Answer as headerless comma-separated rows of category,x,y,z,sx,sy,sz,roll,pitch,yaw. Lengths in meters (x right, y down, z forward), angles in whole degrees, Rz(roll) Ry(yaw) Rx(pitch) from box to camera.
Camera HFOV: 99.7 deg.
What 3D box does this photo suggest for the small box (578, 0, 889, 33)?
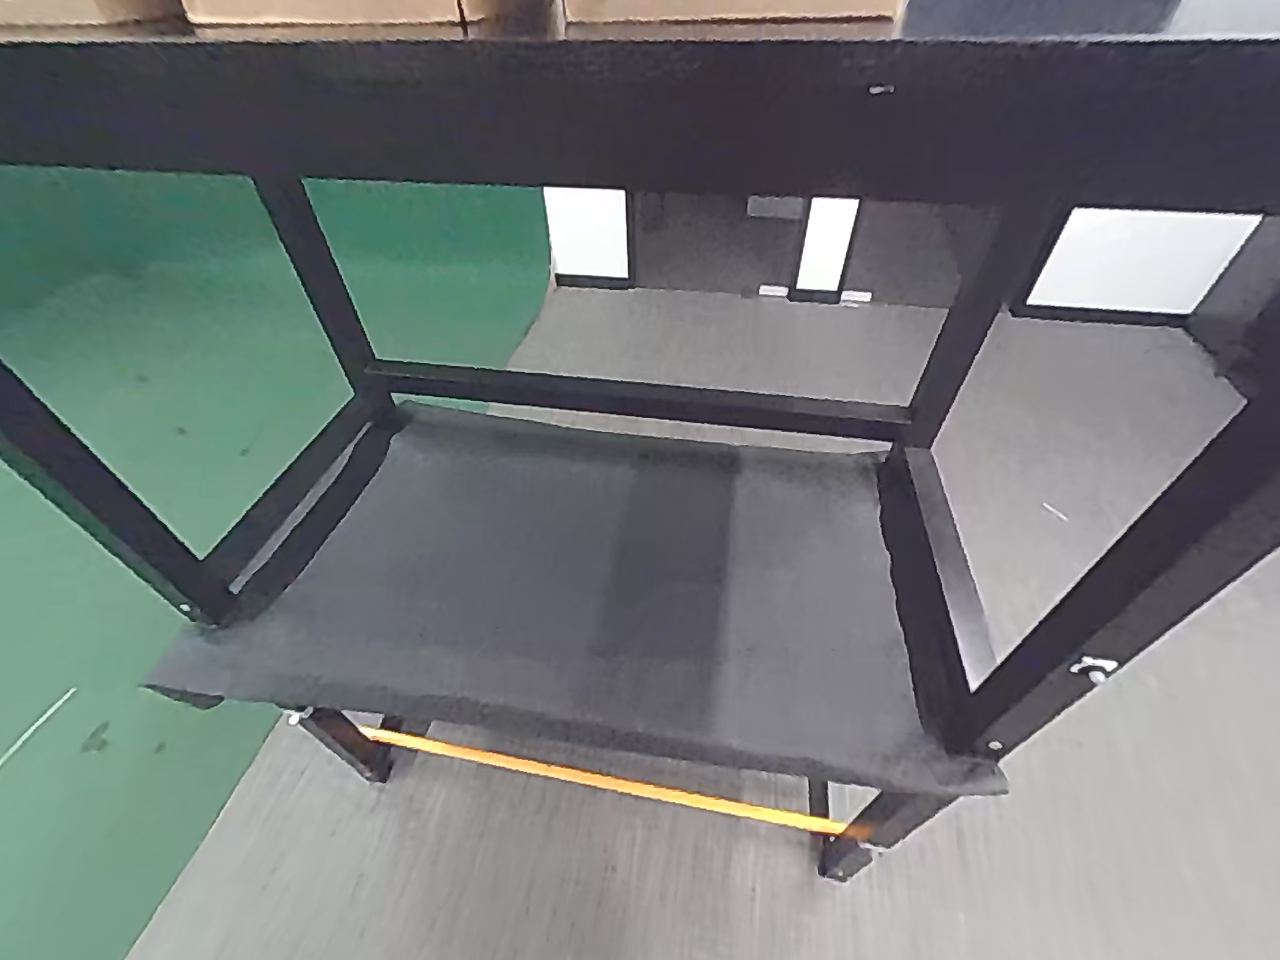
small box,0.053,-0.347,0.281,0.168,0.176,0.179,4,44,5
